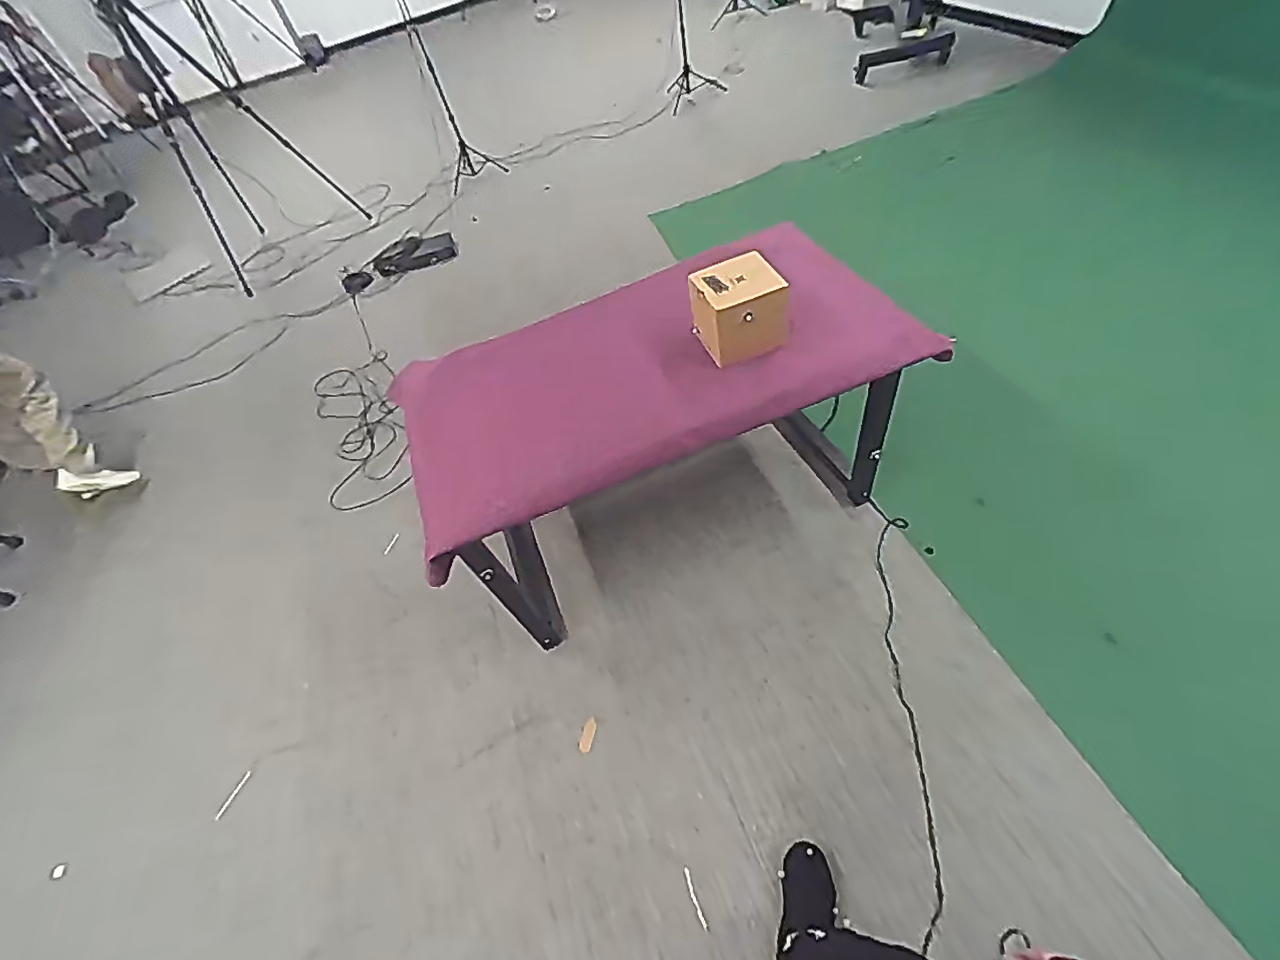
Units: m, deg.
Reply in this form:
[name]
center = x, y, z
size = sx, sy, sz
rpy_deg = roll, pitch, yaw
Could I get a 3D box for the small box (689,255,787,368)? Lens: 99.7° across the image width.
[small box]
center = 0.232, -0.395, 1.283
size = 0.179, 0.176, 0.168
rpy_deg = -21, 52, -4
